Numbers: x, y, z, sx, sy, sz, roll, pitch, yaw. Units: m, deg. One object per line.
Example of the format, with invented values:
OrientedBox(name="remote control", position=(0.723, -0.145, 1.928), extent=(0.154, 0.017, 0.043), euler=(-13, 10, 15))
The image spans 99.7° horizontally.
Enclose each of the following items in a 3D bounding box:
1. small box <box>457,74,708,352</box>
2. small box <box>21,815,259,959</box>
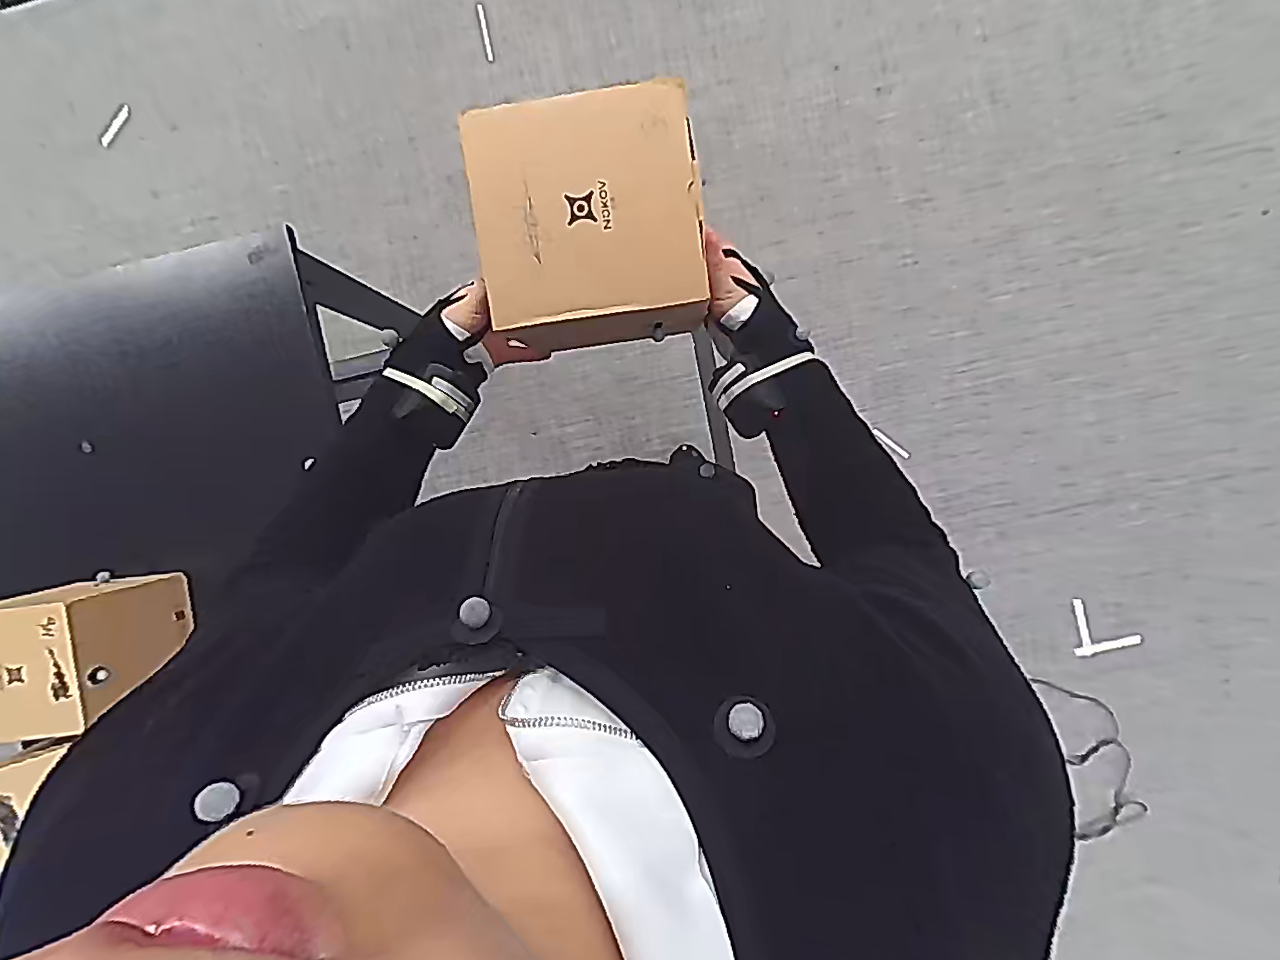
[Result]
OrientedBox(name="small box", position=(-0.039, -0.219, 0.494), extent=(0.179, 0.176, 0.168), euler=(-8, 95, 5))
OrientedBox(name="small box", position=(-0.667, 0.597, 0.748), extent=(0.179, 0.176, 0.168), euler=(-9, 91, 4))
